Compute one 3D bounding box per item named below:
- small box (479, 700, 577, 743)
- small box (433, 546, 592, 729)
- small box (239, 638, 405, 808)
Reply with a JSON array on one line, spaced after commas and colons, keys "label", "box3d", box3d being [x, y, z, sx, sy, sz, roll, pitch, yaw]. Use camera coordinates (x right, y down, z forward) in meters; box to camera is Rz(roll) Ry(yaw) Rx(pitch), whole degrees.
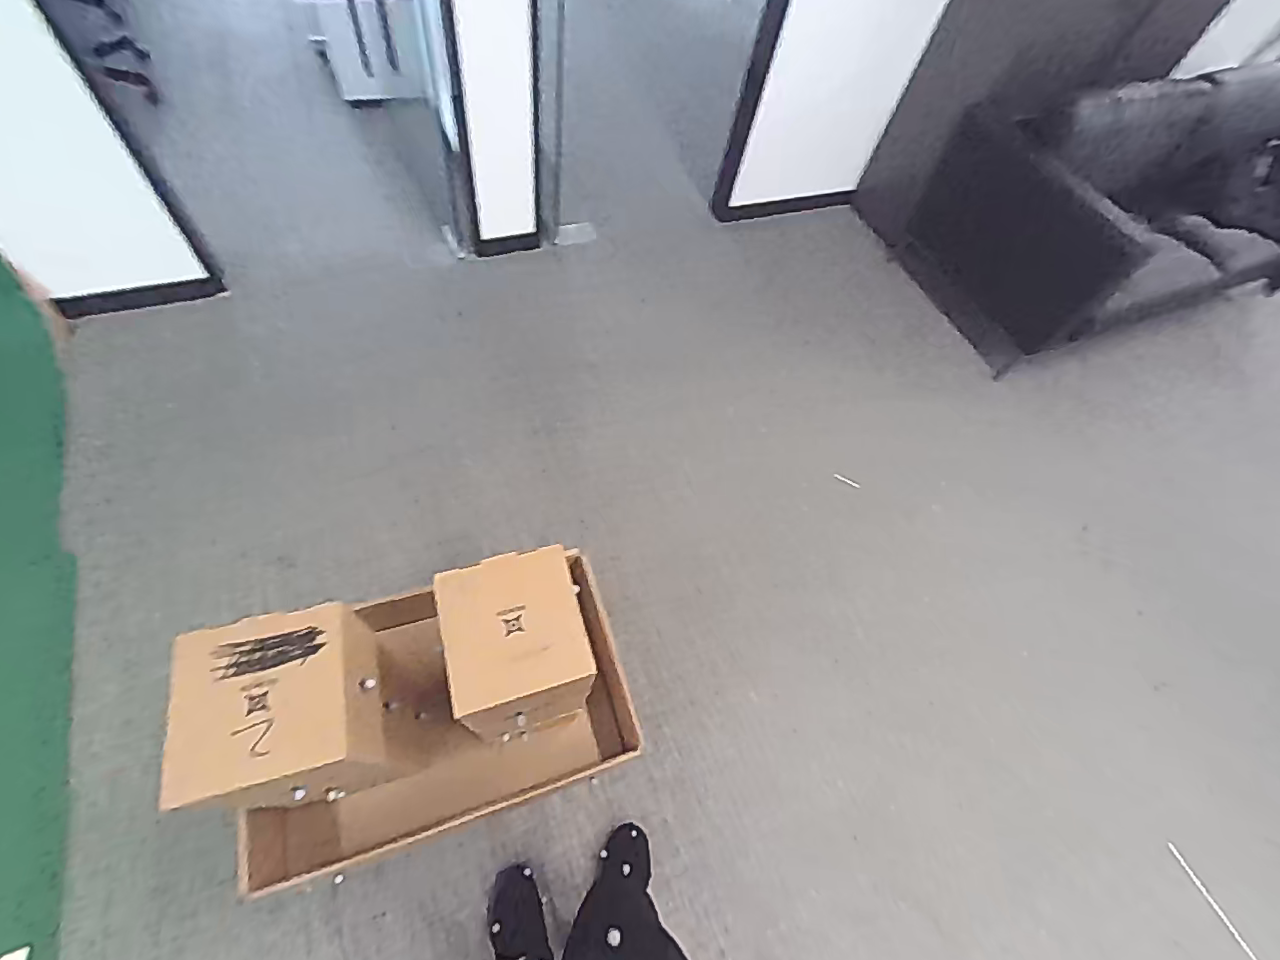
[{"label": "small box", "box3d": [-0.217, 0.376, 1.006, 0.168, 0.176, 0.179, -12, 62, -16]}, {"label": "small box", "box3d": [-0.170, 0.214, 0.726, 0.168, 0.176, 0.179, -12, 63, -16]}, {"label": "small box", "box3d": [-0.450, 0.352, 0.787, 0.168, 0.176, 0.179, -10, 62, -17]}]
